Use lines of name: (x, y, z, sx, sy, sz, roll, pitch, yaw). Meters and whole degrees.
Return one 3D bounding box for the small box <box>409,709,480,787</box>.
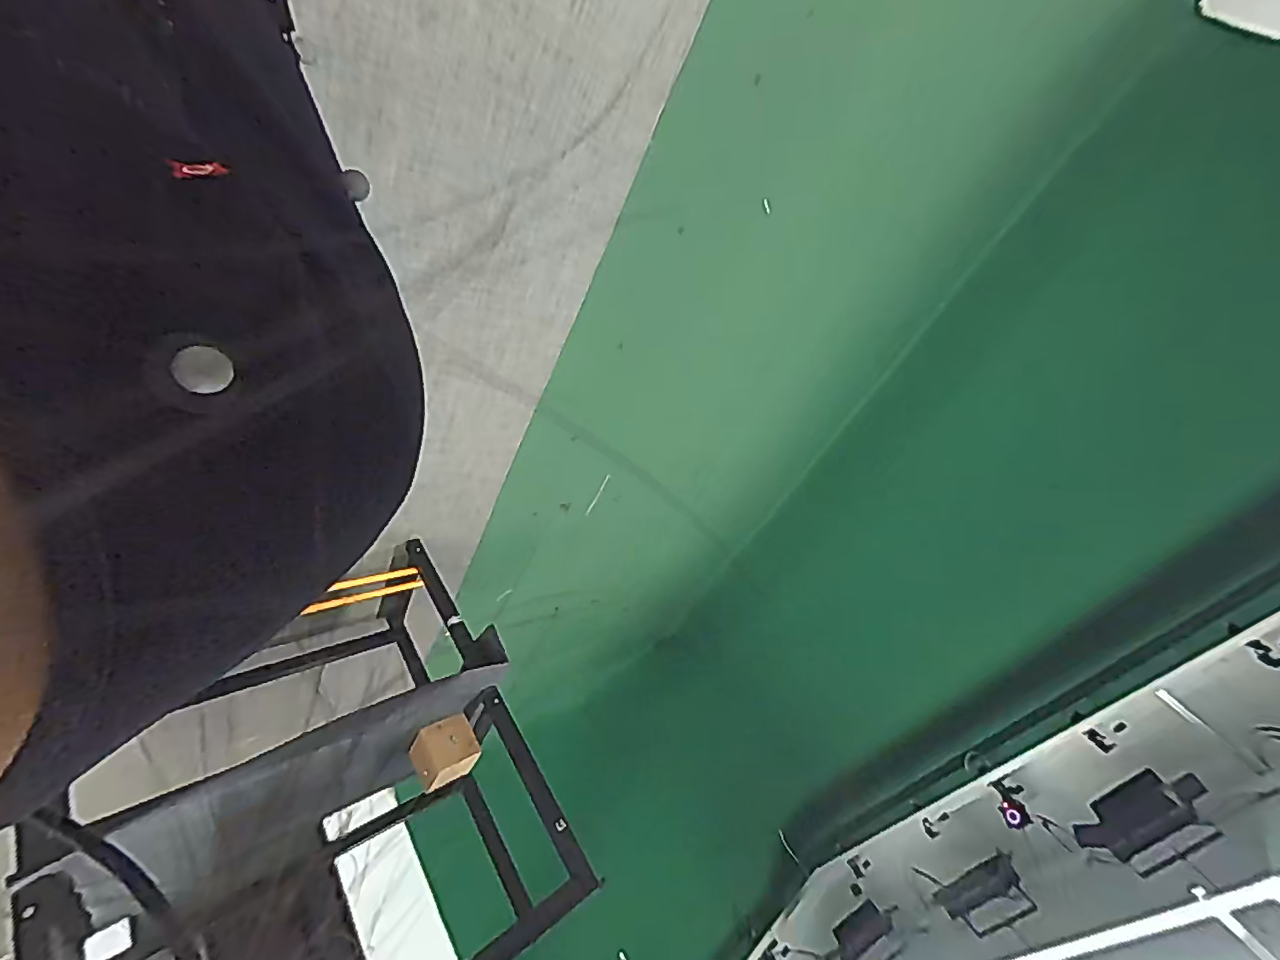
small box: (-0.714, 0.960, 1.960, 0.168, 0.176, 0.179, -6, 138, -46)
